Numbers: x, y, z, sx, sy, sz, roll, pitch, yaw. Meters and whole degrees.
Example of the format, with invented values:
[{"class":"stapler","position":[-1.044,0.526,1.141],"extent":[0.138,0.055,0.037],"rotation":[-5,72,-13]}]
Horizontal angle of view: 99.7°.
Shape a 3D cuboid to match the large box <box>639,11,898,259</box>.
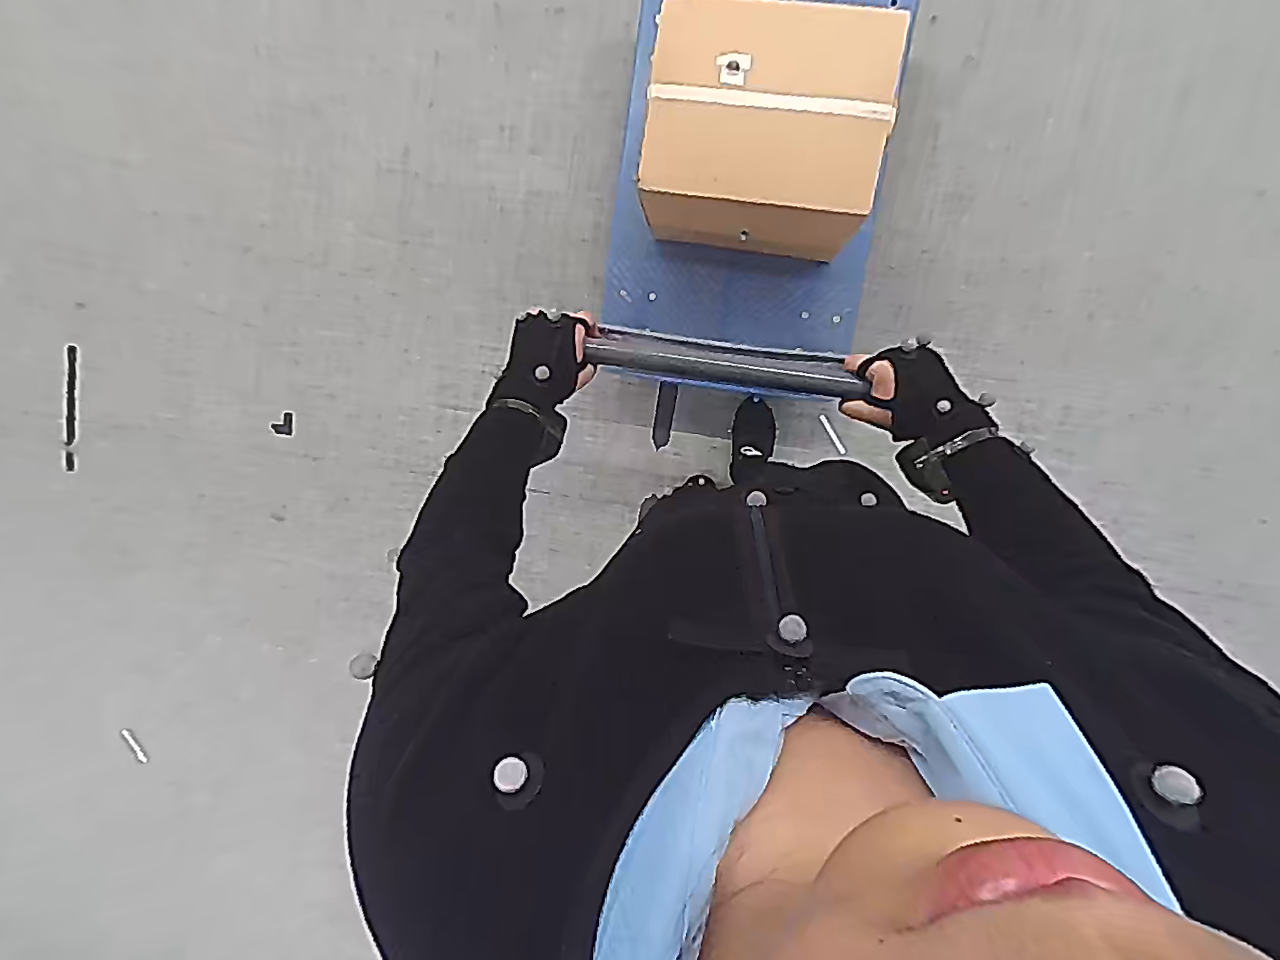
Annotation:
[{"class":"large box","position":[0.234,-0.651,1.075],"extent":[0.408,0.320,0.320],"rotation":[9,98,7]}]
